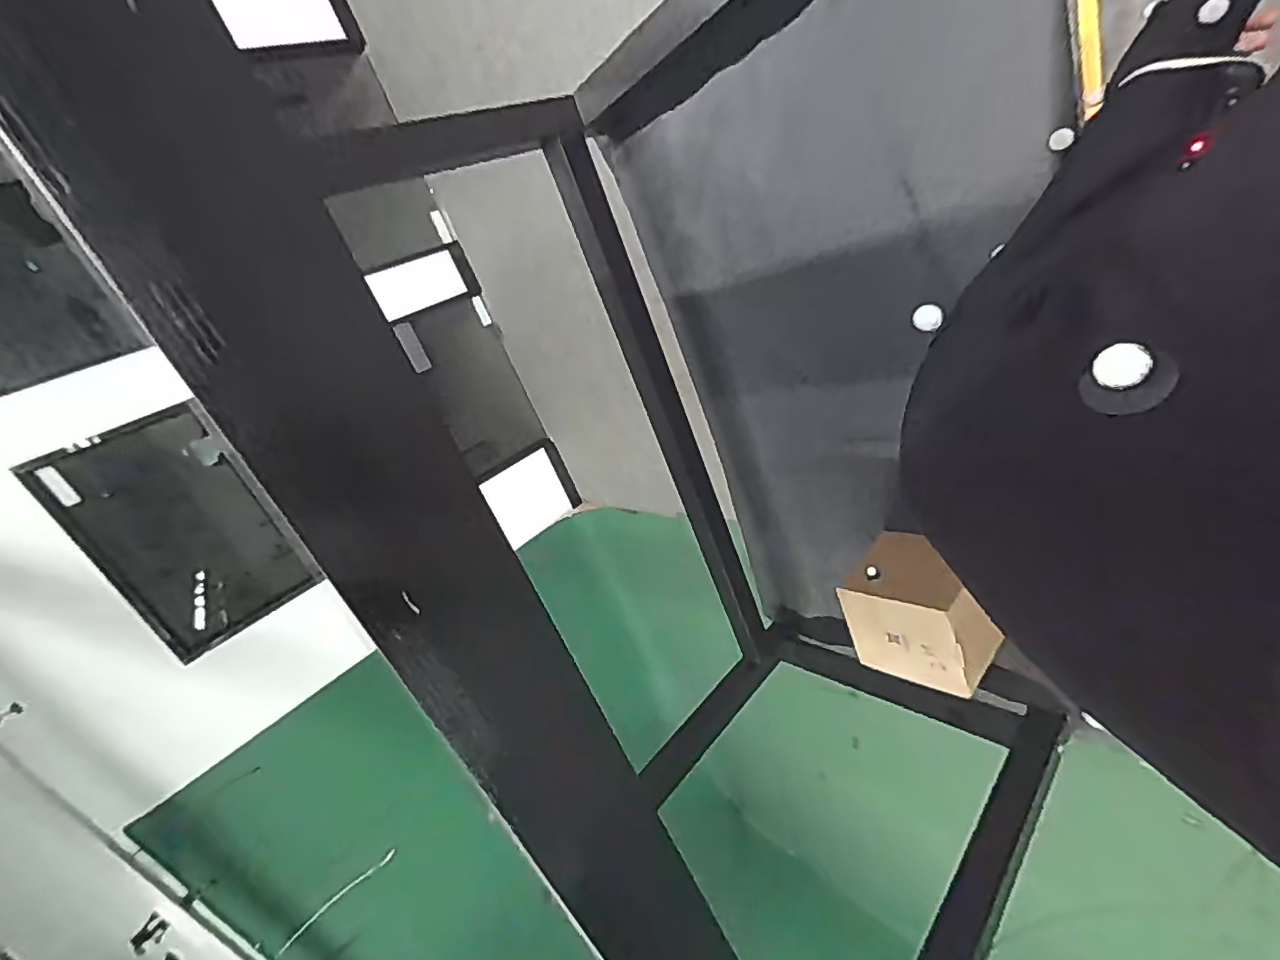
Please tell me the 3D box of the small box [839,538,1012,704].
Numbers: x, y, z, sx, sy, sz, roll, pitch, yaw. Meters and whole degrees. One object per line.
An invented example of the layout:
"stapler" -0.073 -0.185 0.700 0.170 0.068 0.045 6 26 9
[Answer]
"small box" 0.454 0.209 0.858 0.179 0.176 0.168 3 122 53
